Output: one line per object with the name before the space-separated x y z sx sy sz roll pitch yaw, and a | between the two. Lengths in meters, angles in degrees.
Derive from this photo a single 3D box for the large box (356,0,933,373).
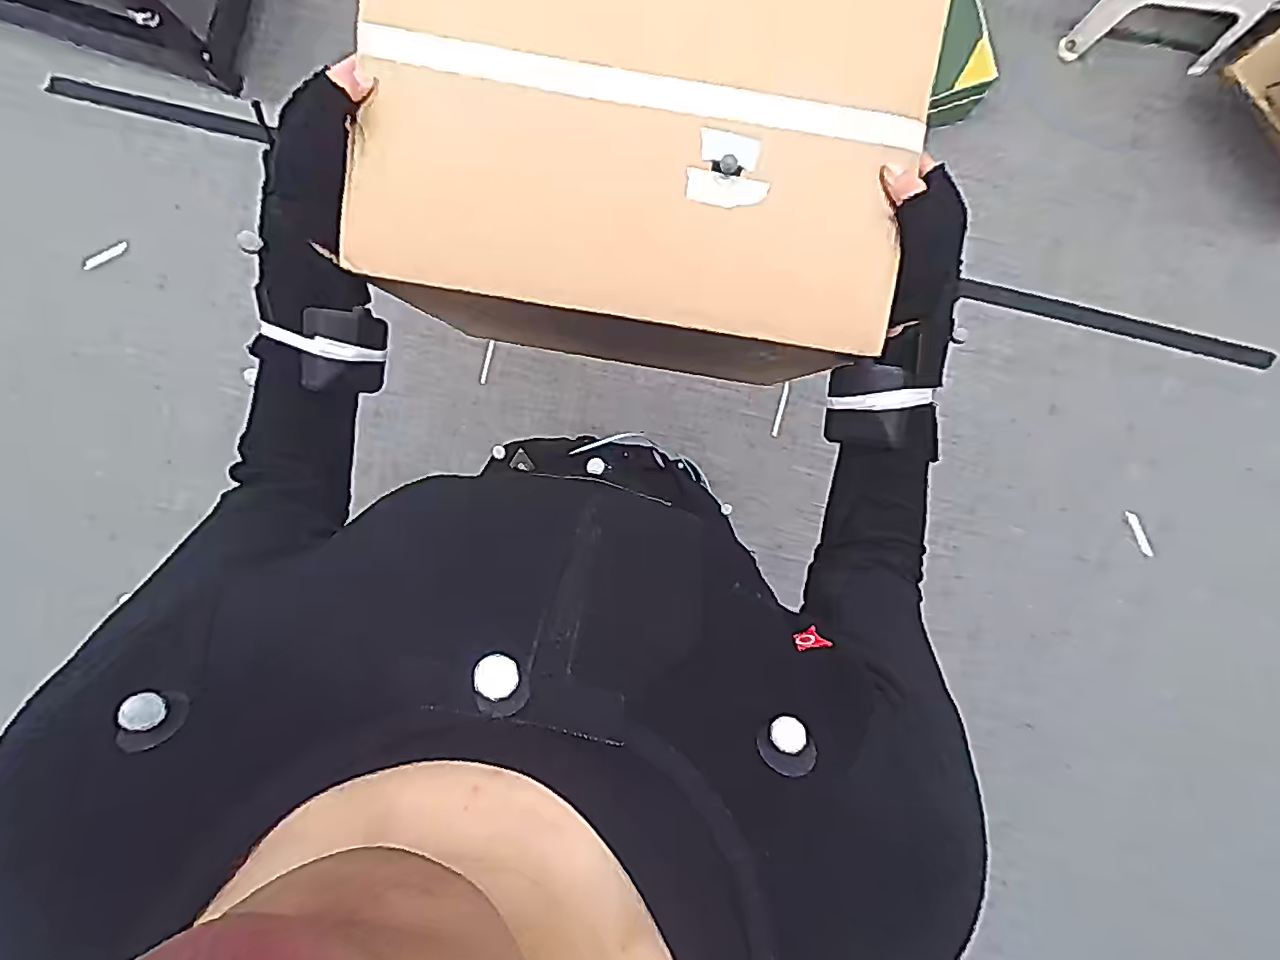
large box | -0.002 -0.301 0.543 0.408 0.320 0.320 9 97 -3
